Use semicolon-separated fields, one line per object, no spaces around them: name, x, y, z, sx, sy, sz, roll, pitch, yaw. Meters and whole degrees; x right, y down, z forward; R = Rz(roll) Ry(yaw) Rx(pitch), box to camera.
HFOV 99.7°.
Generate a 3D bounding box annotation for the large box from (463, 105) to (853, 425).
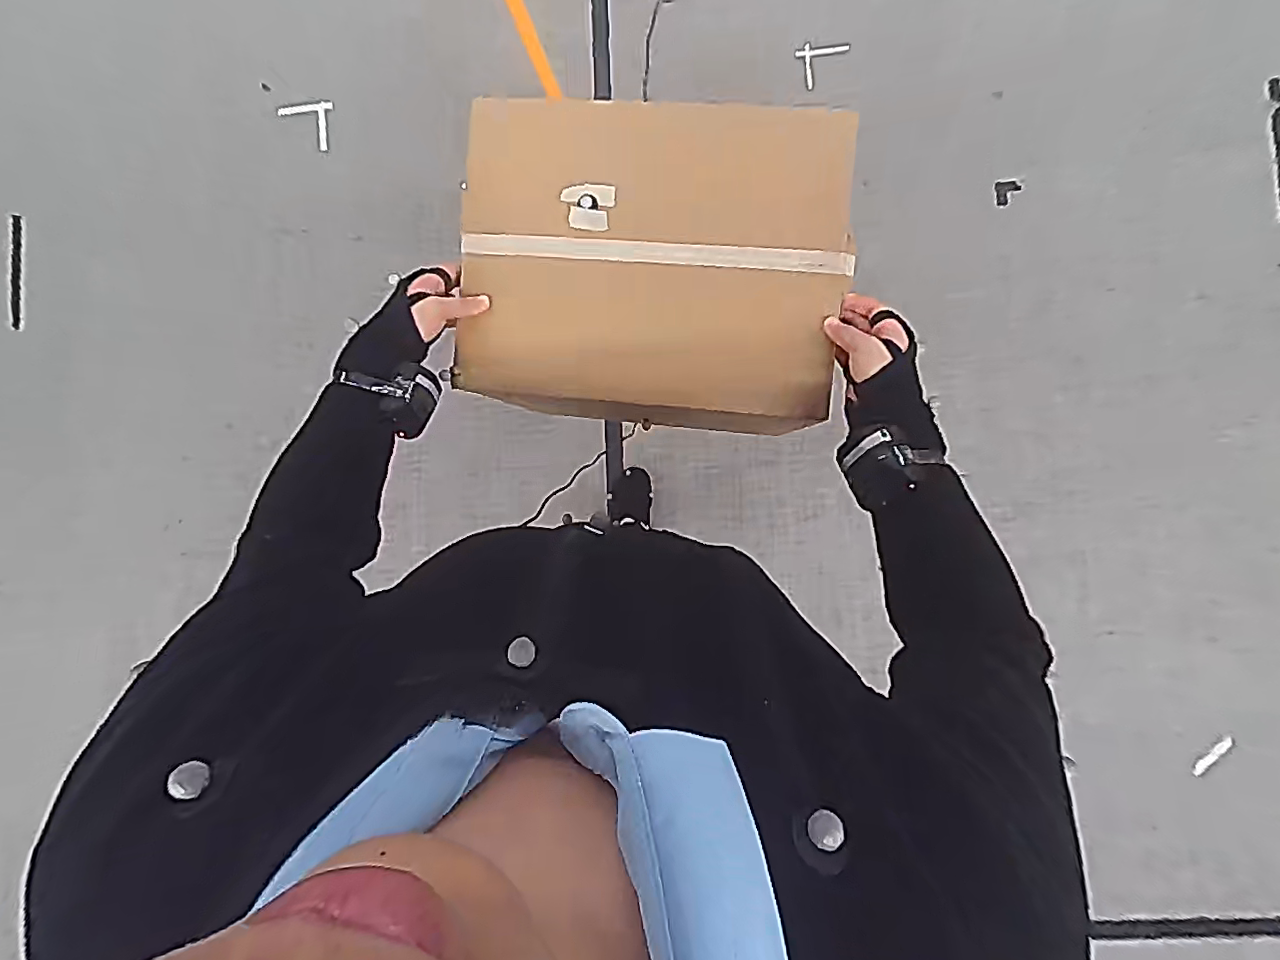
large box;0.029;-0.247;0.724;0.408;0.320;0.320;6;91;6
